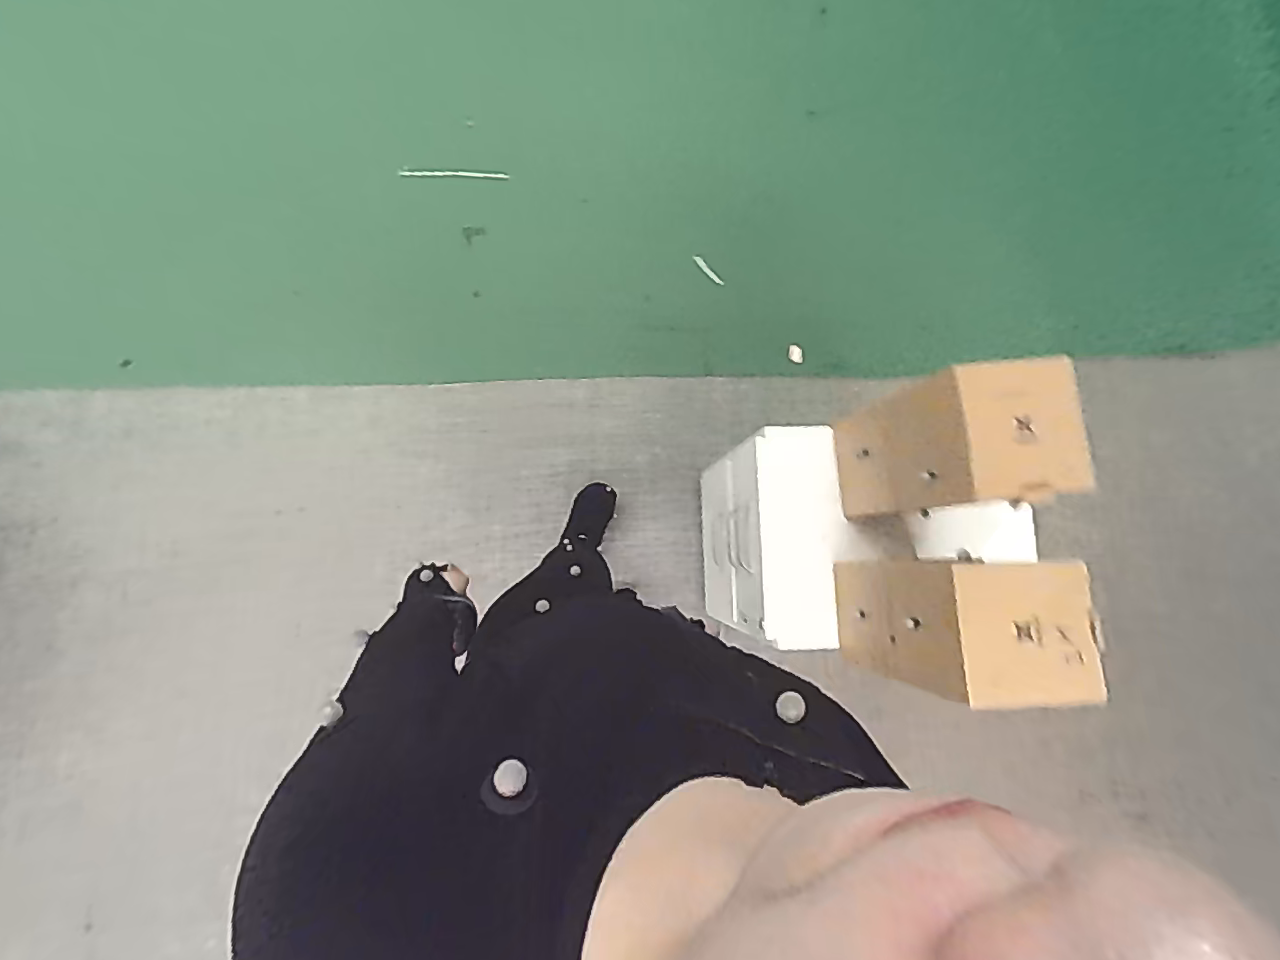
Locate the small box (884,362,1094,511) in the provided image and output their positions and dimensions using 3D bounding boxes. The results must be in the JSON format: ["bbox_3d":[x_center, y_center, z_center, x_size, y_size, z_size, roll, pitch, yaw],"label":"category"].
[{"bbox_3d":[0.471,-0.050,0.756,0.168,0.176,0.179,-6,83,-8],"label":"small box"}]

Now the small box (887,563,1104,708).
[{"bbox_3d":[0.449,0.195,0.717,0.179,0.176,0.168,0,81,-6],"label":"small box"}]

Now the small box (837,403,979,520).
[{"bbox_3d":[0.452,-0.029,0.918,0.168,0.176,0.179,-4,84,-6],"label":"small box"}]
